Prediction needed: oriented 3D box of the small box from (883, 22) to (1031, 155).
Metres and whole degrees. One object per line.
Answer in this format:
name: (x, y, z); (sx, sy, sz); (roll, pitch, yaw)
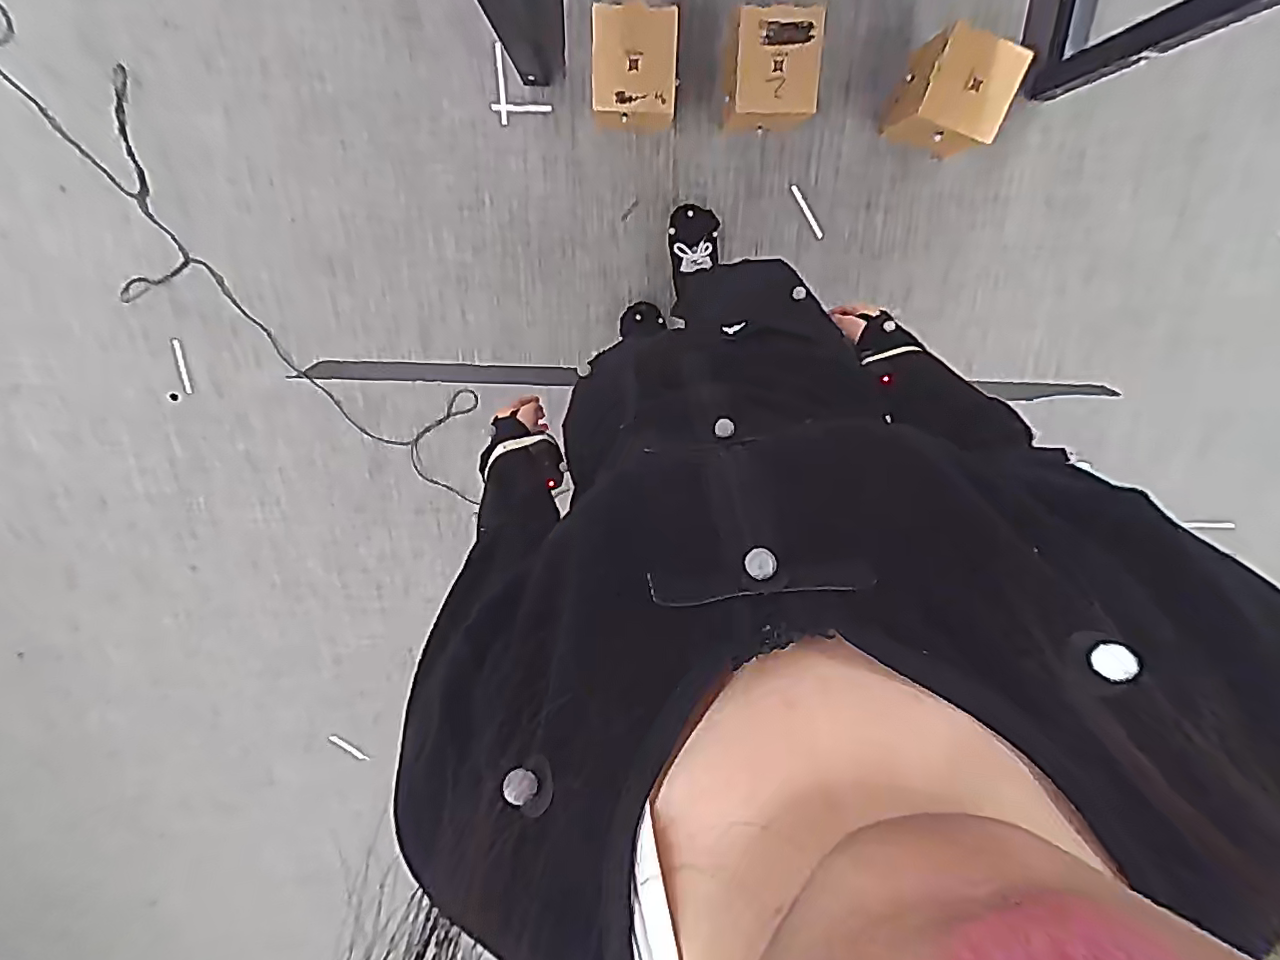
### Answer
small box: (0.661, -0.817, 1.151); (0.179, 0.176, 0.168); (17, 110, -6)

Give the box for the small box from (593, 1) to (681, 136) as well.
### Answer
small box: (-0.011, -0.845, 1.126); (0.168, 0.176, 0.179); (3, 109, -2)
